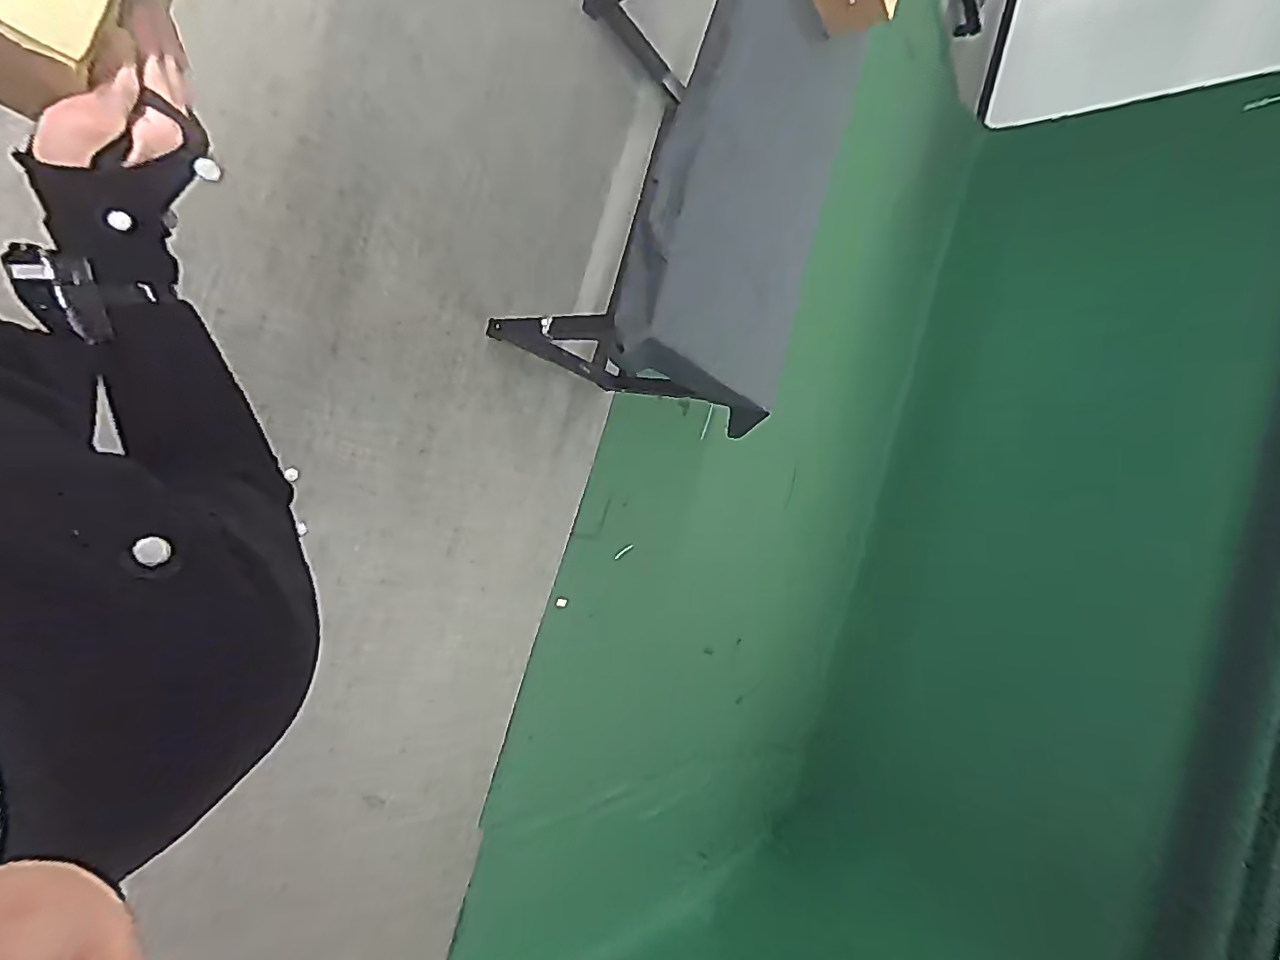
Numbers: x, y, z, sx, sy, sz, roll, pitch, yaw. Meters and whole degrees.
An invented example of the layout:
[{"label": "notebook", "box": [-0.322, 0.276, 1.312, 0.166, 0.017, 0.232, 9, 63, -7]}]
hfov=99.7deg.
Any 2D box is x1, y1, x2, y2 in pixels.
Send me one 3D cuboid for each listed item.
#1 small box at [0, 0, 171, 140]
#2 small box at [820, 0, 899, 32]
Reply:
[{"label": "small box", "box": [-0.378, -0.335, 0.299, 0.168, 0.176, 0.179, 21, 85, -42]}, {"label": "small box", "box": [0.580, -1.335, 1.417, 0.179, 0.176, 0.168, 18, 90, -48]}]
